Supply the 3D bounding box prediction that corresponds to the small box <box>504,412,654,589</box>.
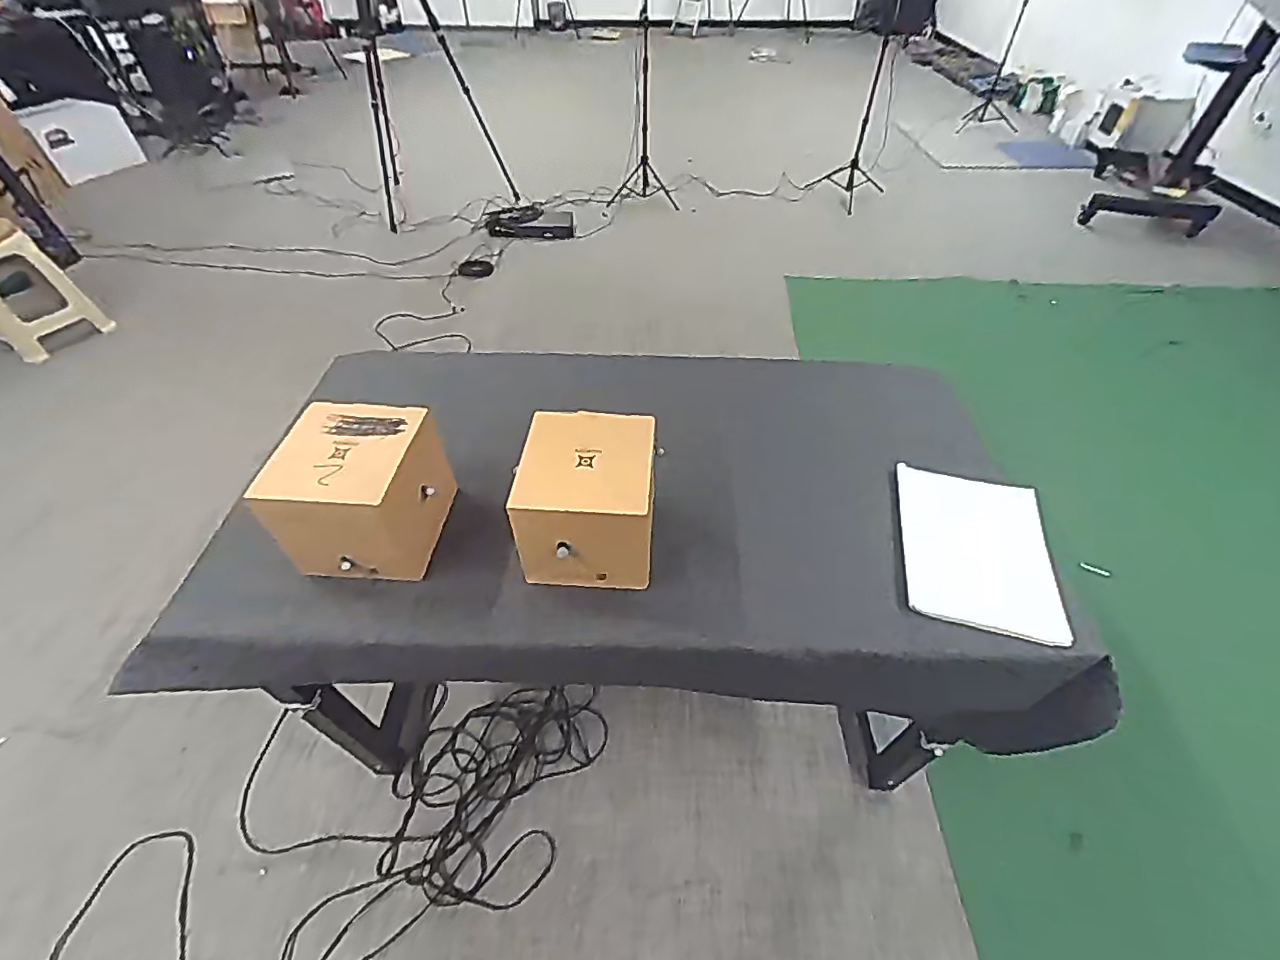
[{"bbox_3d":[-0.068,0.030,0.724,0.168,0.176,0.179,3,47,3],"label":"small box"}]
